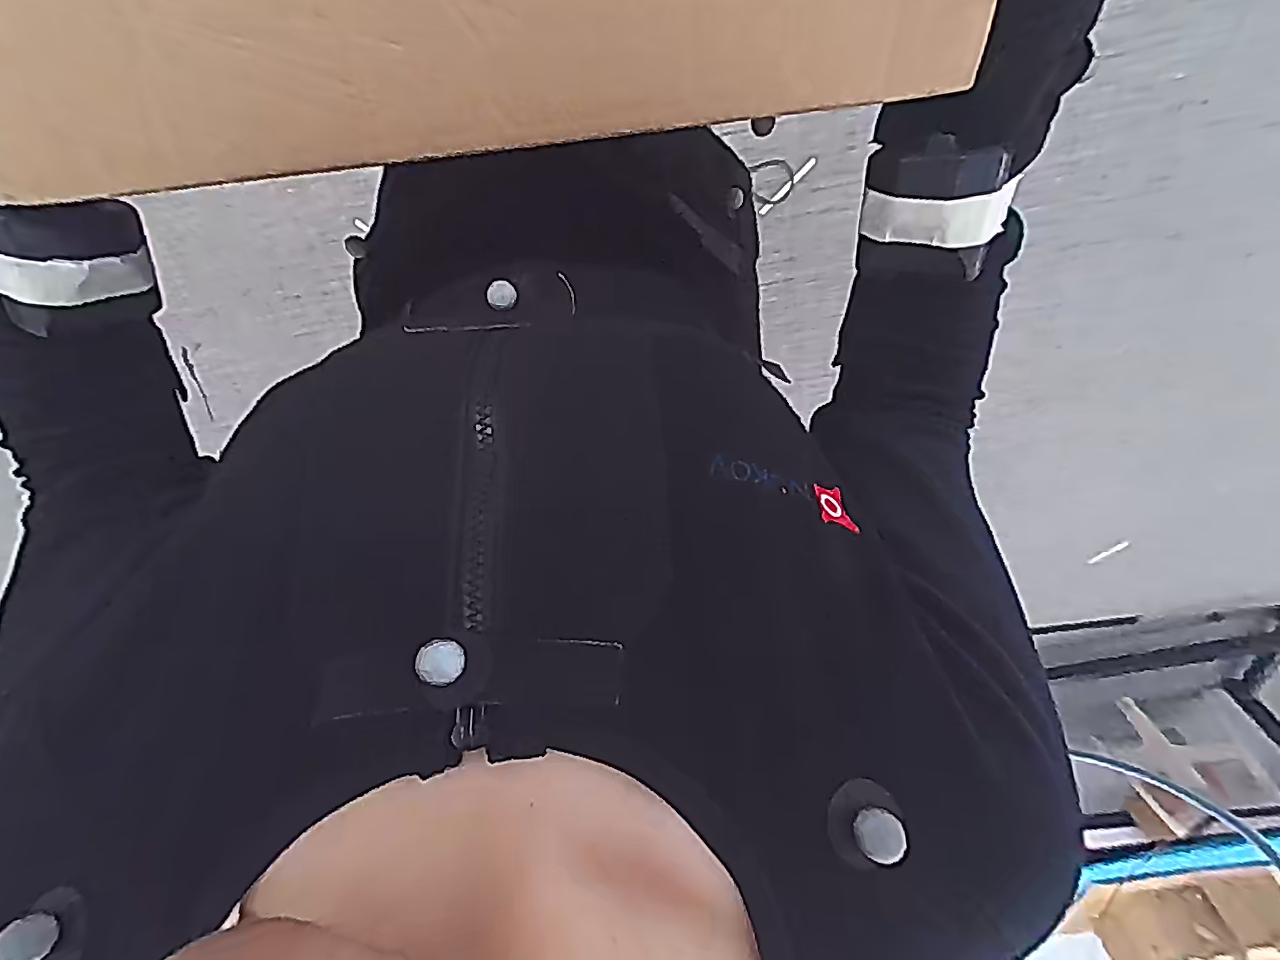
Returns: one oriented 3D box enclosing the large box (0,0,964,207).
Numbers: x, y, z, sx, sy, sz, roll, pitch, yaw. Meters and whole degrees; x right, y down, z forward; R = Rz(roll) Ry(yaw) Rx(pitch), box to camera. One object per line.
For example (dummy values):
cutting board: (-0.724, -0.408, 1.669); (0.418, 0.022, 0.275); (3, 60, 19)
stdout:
large box: (-0.091, -0.357, 0.241); (0.408, 0.320, 0.320); (-7, 131, 0)
